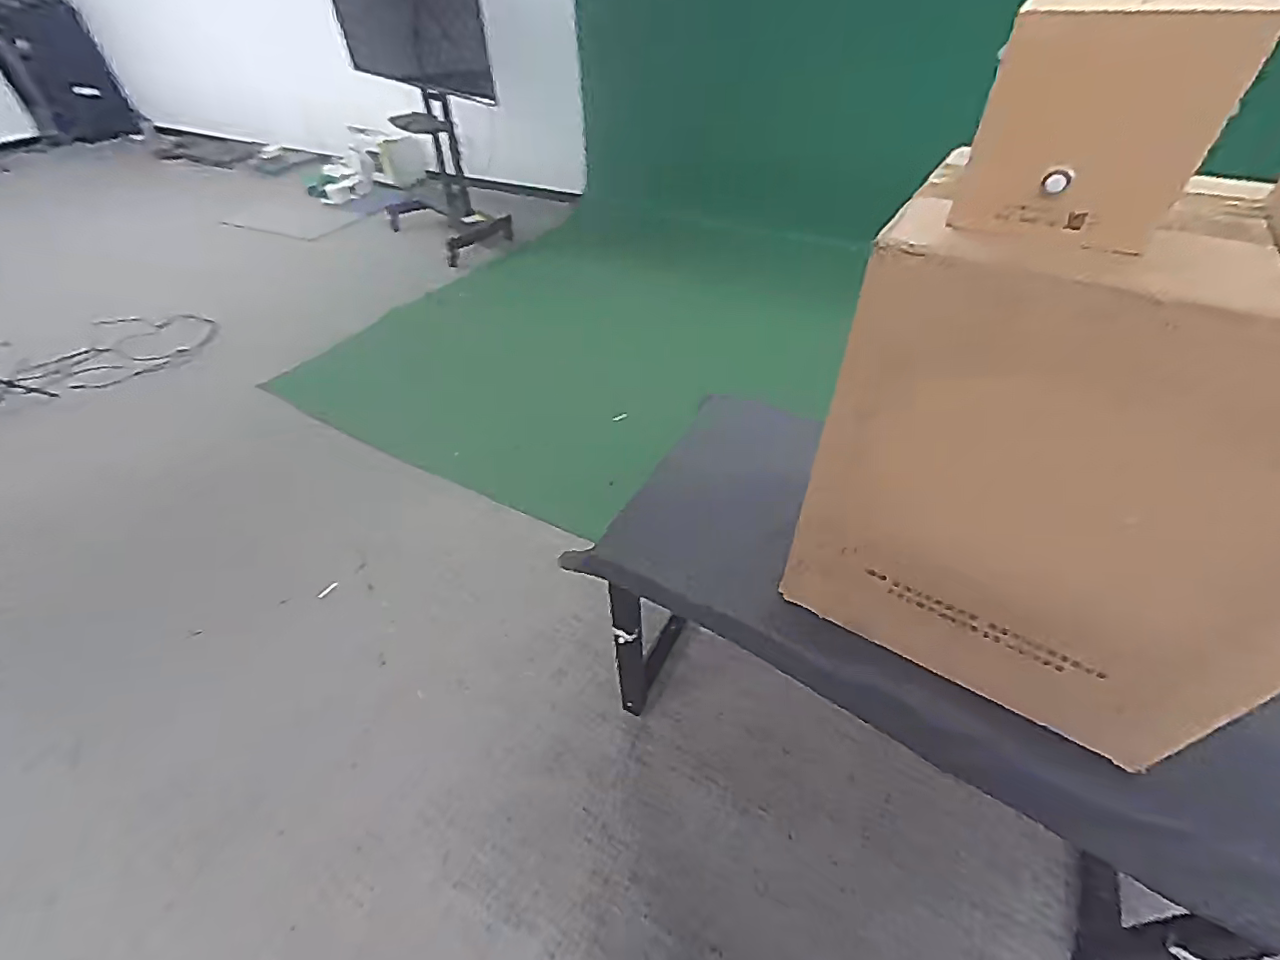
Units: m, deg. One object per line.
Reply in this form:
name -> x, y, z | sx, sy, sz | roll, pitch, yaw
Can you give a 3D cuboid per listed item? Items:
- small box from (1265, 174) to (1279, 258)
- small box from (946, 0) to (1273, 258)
small box -> 0.651, -0.256, 0.416 | 0.179, 0.176, 0.168 | 25, 53, 22
small box -> 0.414, -0.334, 0.506 | 0.168, 0.176, 0.179 | 23, 52, 25
